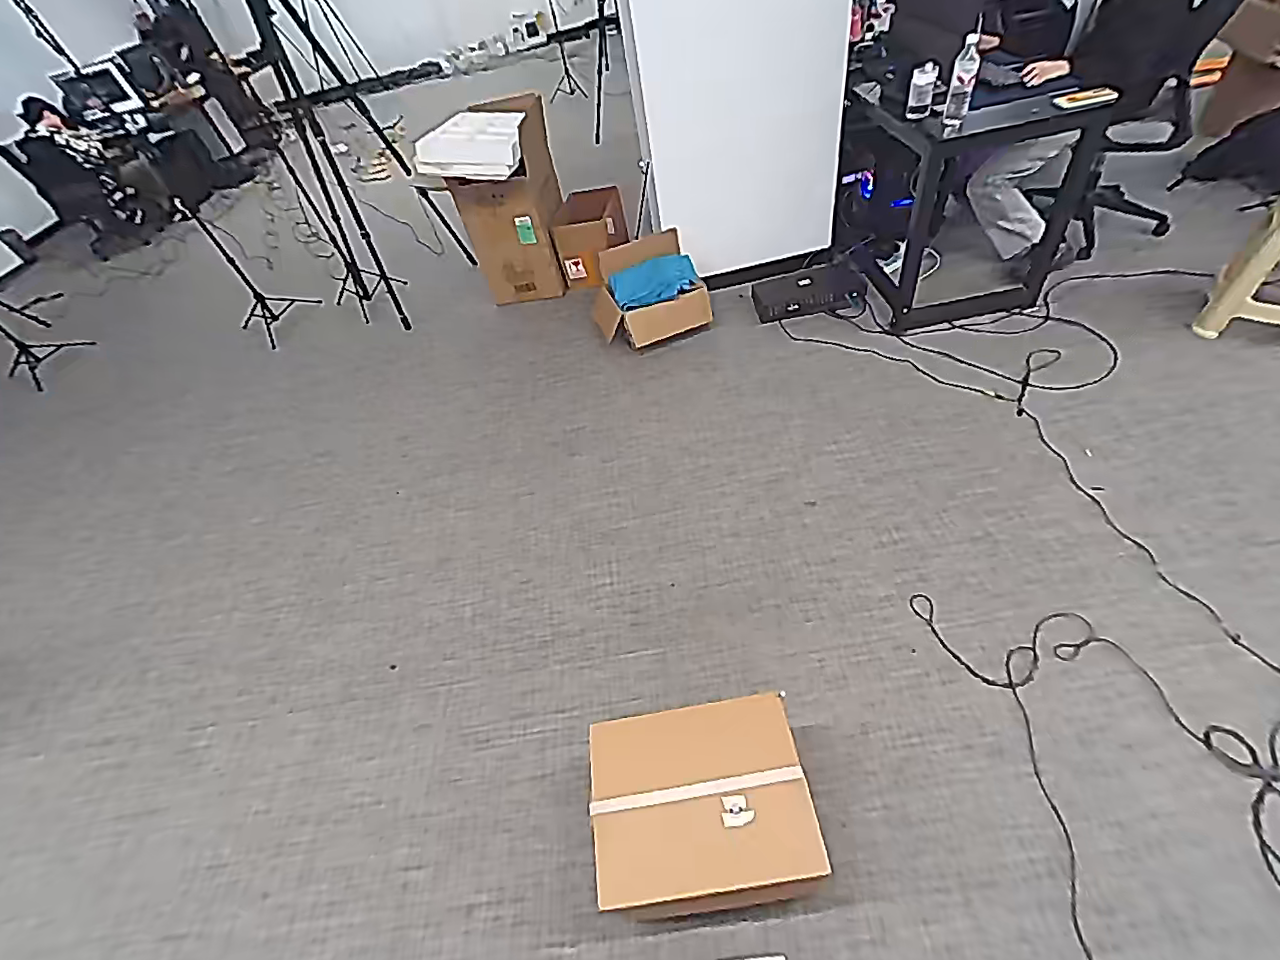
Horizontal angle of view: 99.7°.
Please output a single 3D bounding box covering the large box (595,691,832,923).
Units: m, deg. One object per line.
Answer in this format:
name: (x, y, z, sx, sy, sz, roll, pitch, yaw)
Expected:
large box: (0.141, 0.688, 1.131, 0.408, 0.320, 0.320, -11, 47, 3)
